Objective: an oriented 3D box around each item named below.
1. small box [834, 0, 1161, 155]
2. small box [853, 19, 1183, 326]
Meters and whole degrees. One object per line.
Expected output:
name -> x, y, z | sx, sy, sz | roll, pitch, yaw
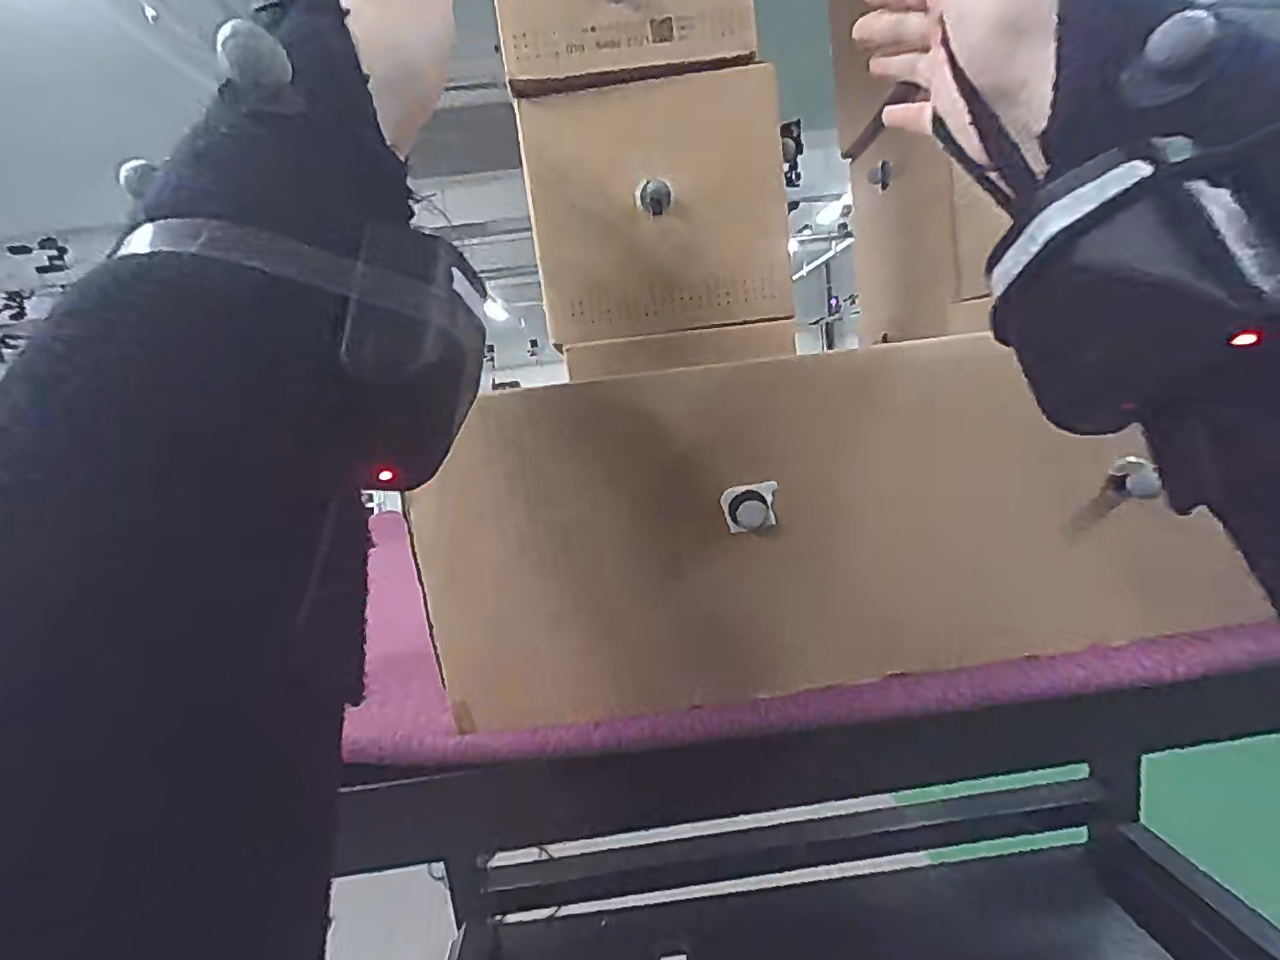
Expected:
small box -> 0.264, -0.391, 0.436 | 0.168, 0.176, 0.179 | -8, 9, 2
small box -> 0.299, -0.234, 0.464 | 0.168, 0.176, 0.179 | -8, 9, 1
